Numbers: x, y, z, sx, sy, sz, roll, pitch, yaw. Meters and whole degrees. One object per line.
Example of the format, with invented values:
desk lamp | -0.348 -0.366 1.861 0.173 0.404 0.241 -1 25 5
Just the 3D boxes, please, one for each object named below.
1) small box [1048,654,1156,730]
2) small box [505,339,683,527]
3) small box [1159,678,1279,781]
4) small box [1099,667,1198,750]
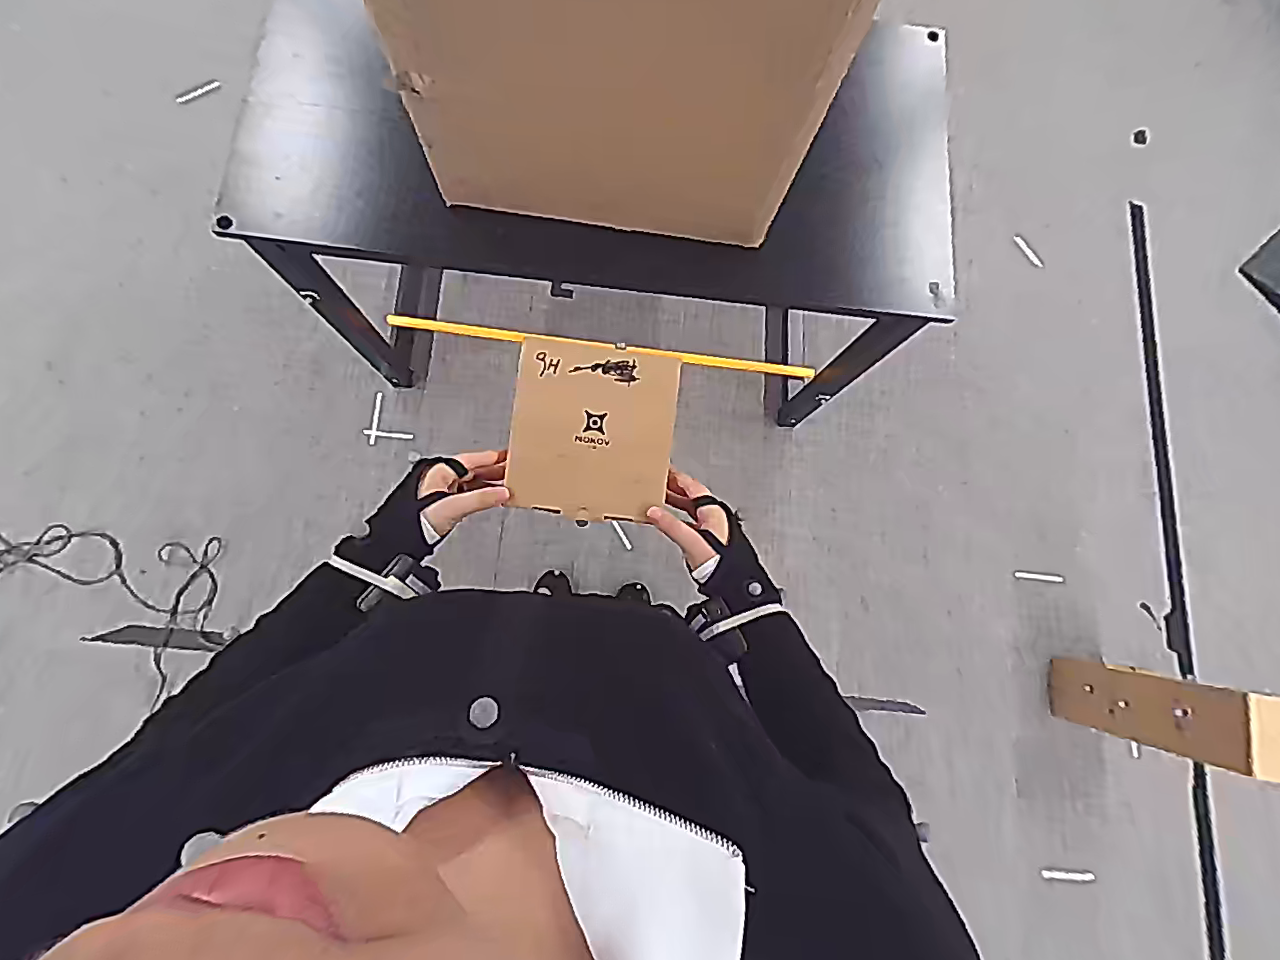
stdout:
small box | 1.271 0.587 1.494 0.168 0.176 0.179 10 80 -3
small box | -0.051 -0.048 0.629 0.168 0.176 0.179 7 90 -5
small box | 1.289 0.537 1.170 0.179 0.176 0.168 9 79 -2
small box | 1.289 0.566 1.331 0.179 0.176 0.168 9 79 -3
